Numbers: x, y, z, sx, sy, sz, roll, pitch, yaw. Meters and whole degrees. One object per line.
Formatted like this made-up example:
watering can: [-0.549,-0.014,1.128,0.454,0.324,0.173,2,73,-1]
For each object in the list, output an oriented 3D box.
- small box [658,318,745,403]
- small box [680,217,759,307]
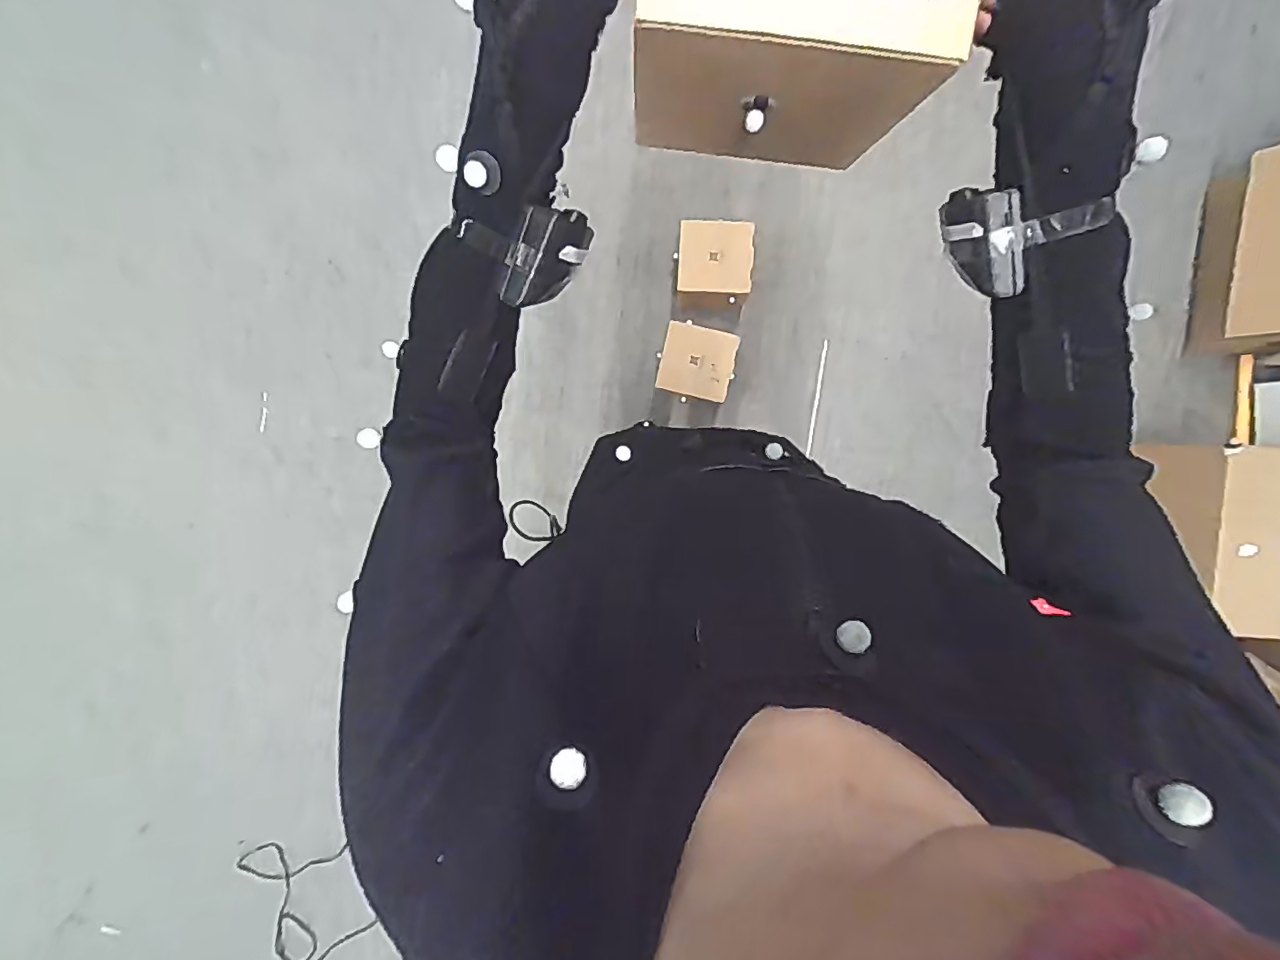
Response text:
small box: [0.150,-0.293,1.364,0.179,0.176,0.168,14,96,2]
small box: [0.192,-0.534,1.343,0.179,0.176,0.168,3,95,3]
